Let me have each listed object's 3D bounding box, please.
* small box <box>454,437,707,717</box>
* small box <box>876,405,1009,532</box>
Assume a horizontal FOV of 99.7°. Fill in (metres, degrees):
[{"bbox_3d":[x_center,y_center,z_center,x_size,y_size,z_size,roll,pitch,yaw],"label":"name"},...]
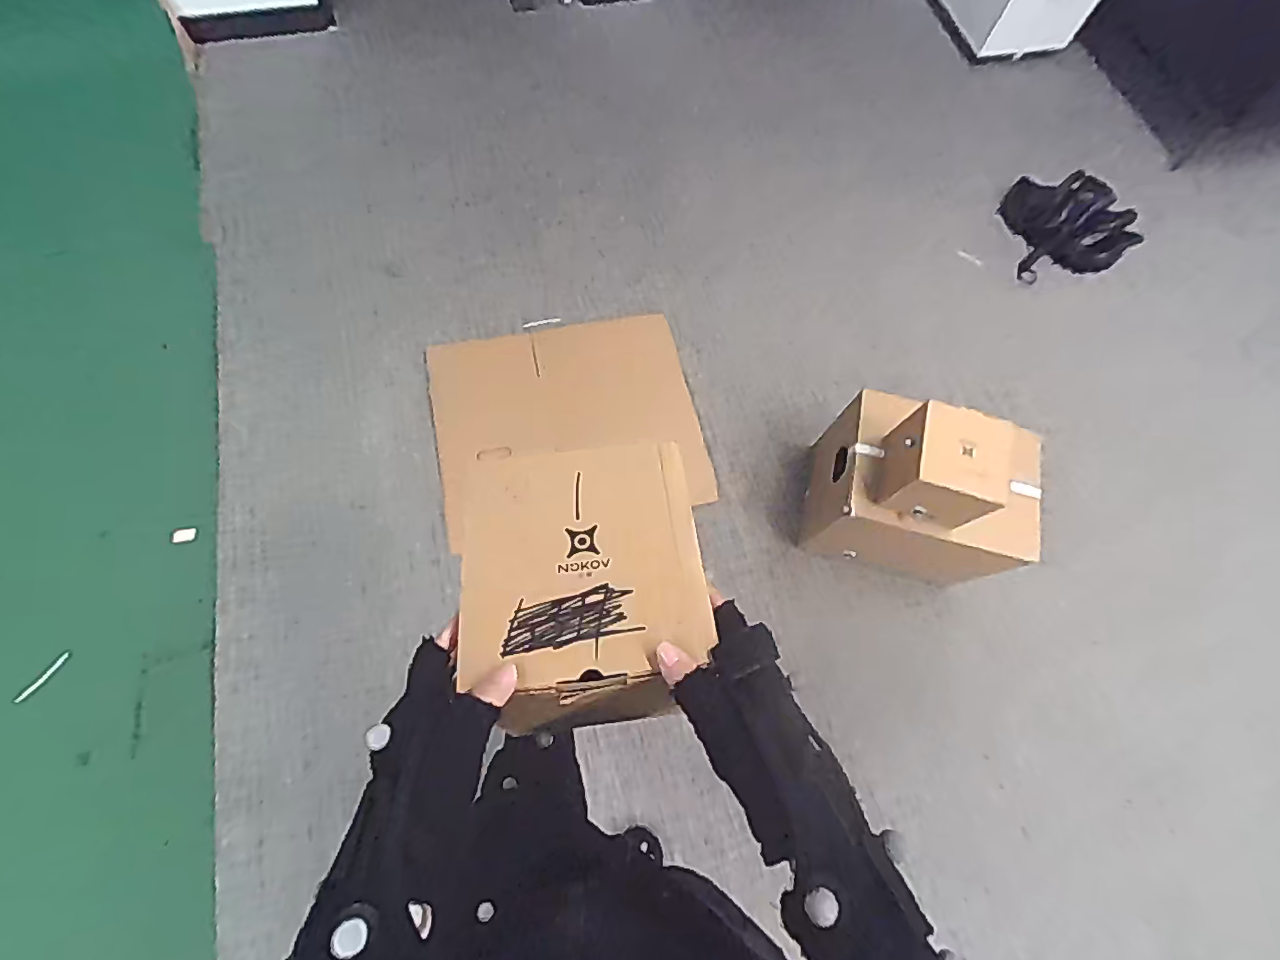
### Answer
[{"bbox_3d":[-0.043,0.090,0.451,0.168,0.176,0.179,-7,57,-3],"label":"small box"},{"bbox_3d":[0.590,-0.017,1.069,0.168,0.176,0.179,16,70,4],"label":"small box"}]
